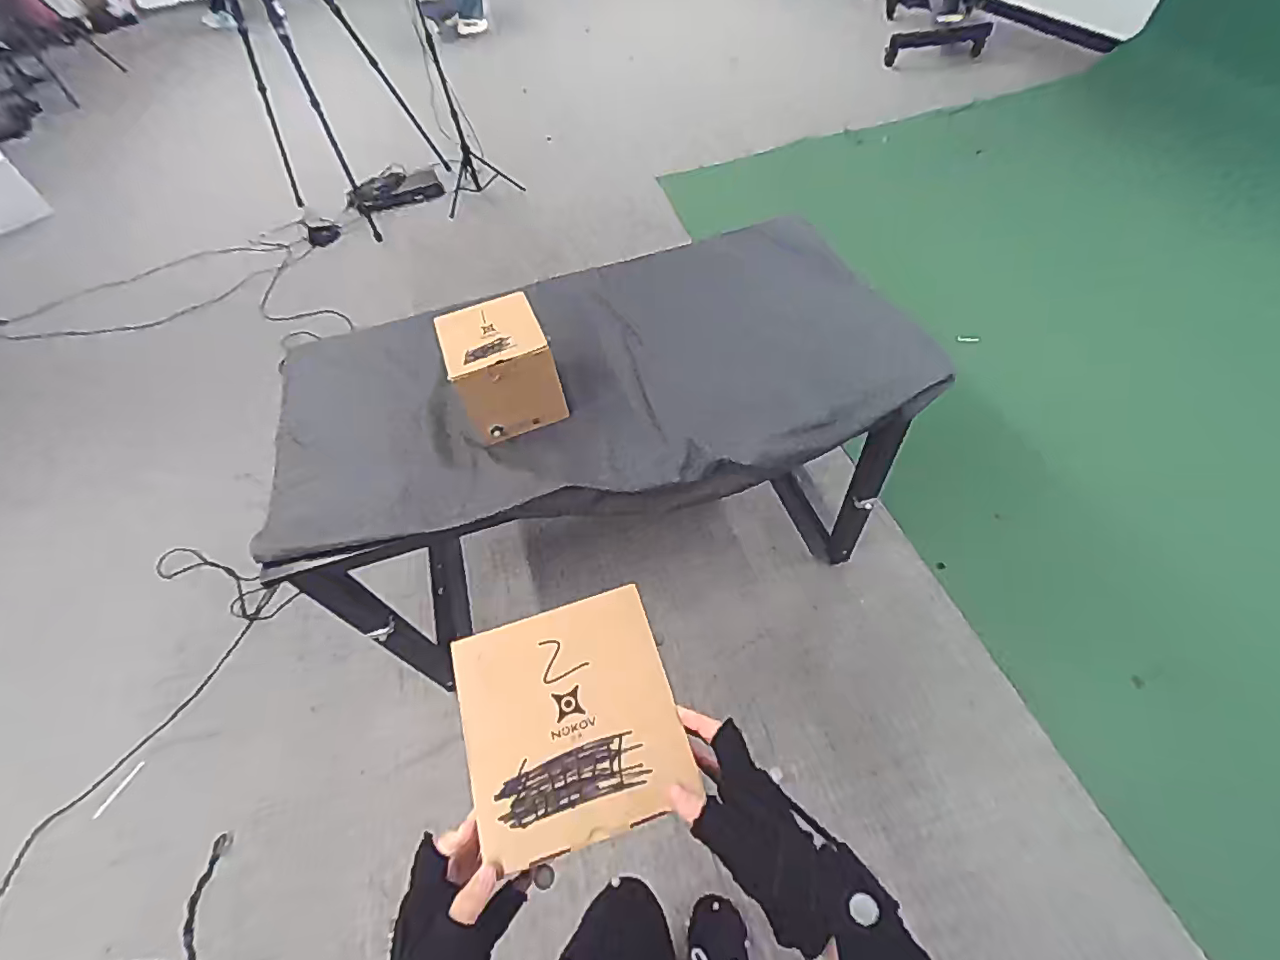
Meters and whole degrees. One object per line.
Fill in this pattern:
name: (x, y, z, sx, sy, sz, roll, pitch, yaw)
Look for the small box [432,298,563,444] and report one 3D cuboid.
small box: (-0.248, -0.186, 0.965, 0.168, 0.176, 0.179, -20, 53, -9)
